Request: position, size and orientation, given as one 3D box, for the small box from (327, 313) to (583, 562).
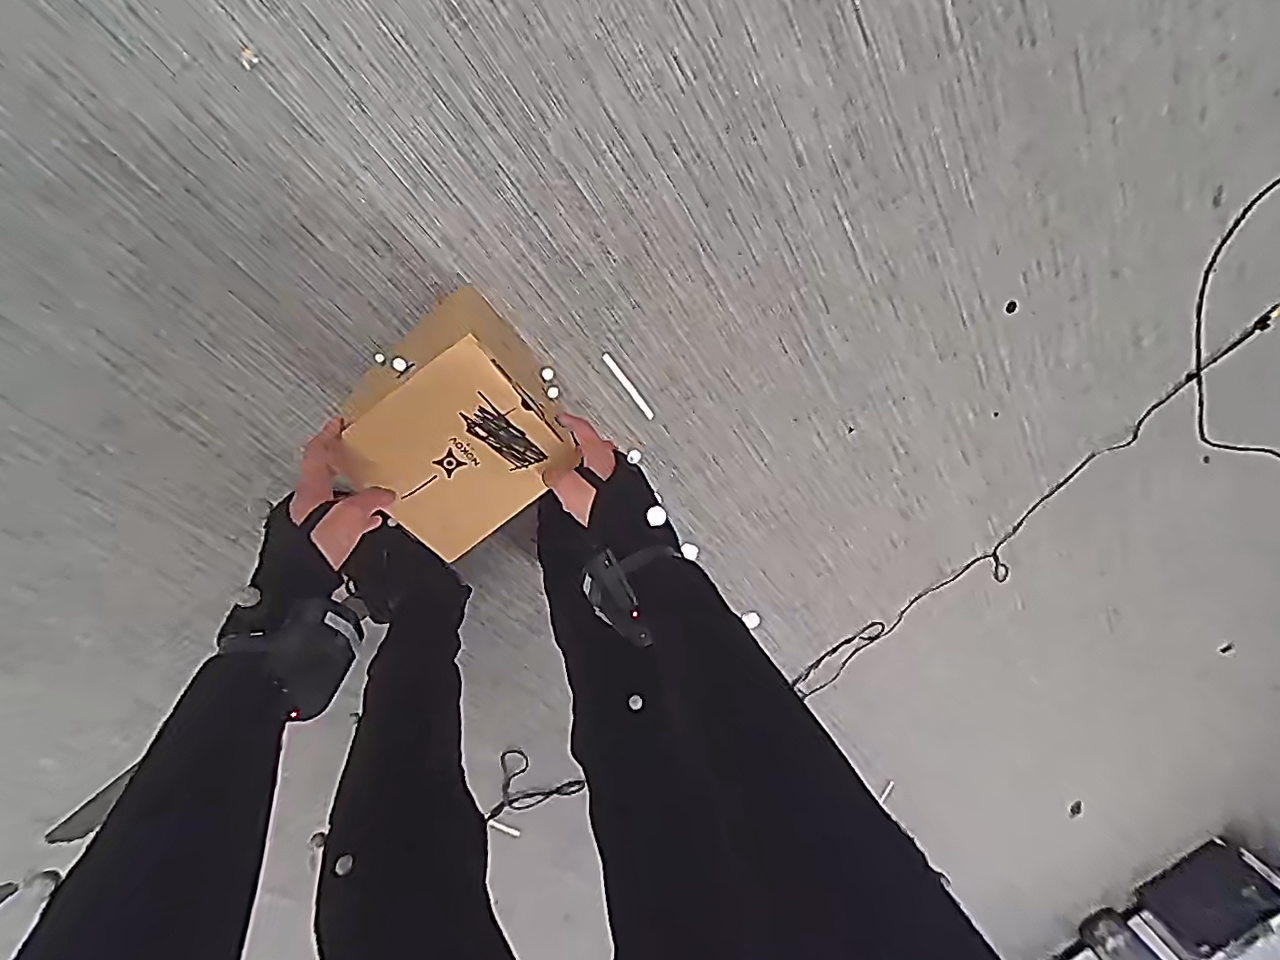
[{"bbox_3d":[-0.189,-0.055,0.580,0.179,0.176,0.168,-36,120,4],"label":"small box"}]
